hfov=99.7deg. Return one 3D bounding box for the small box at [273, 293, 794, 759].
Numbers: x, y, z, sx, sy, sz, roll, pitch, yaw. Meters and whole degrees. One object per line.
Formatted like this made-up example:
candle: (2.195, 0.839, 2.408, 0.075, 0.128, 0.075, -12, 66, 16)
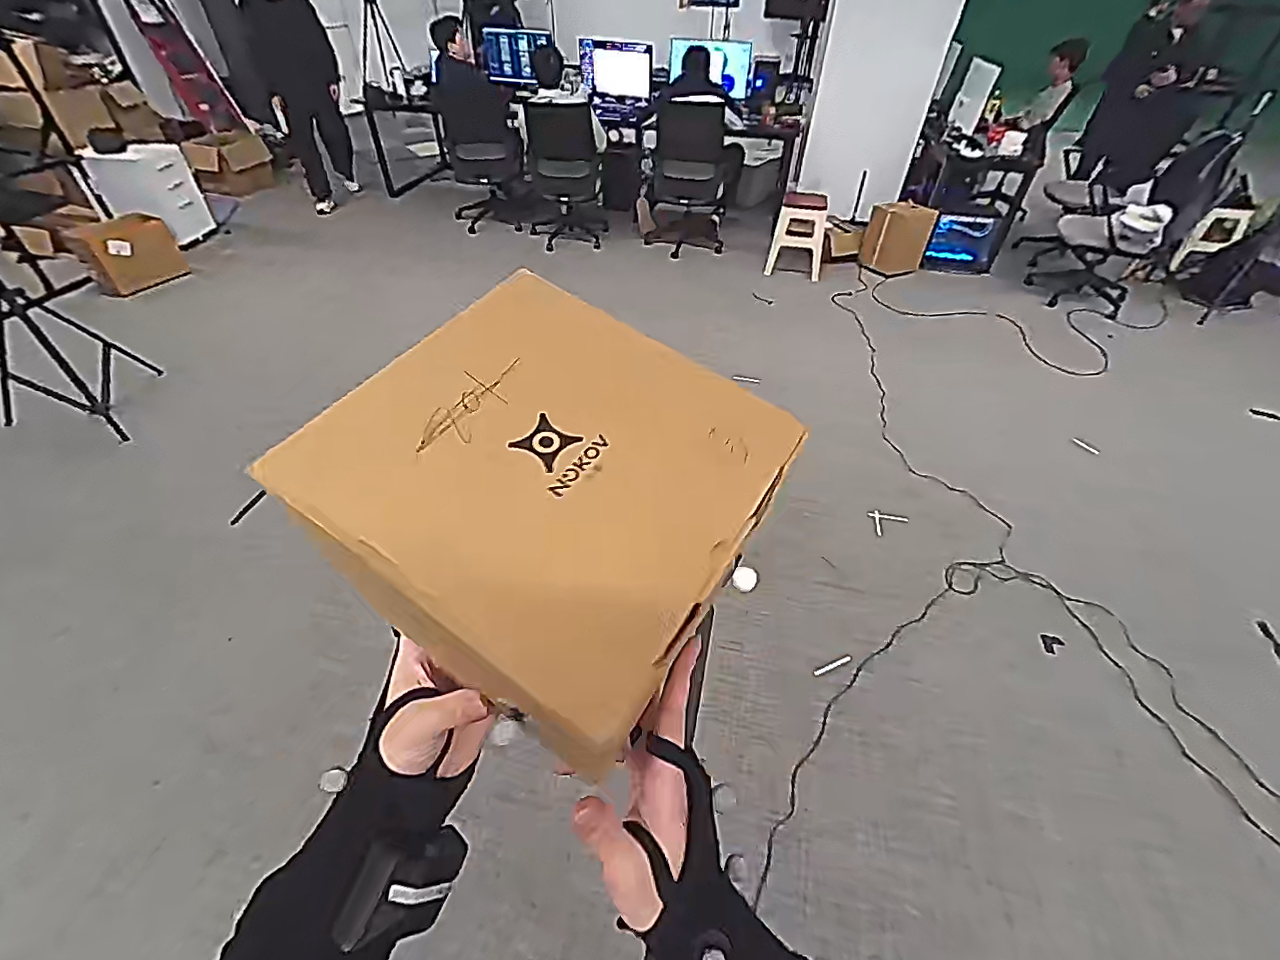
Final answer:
small box: (-0.046, 0.035, 0.310, 0.179, 0.176, 0.168, 30, 58, 13)
